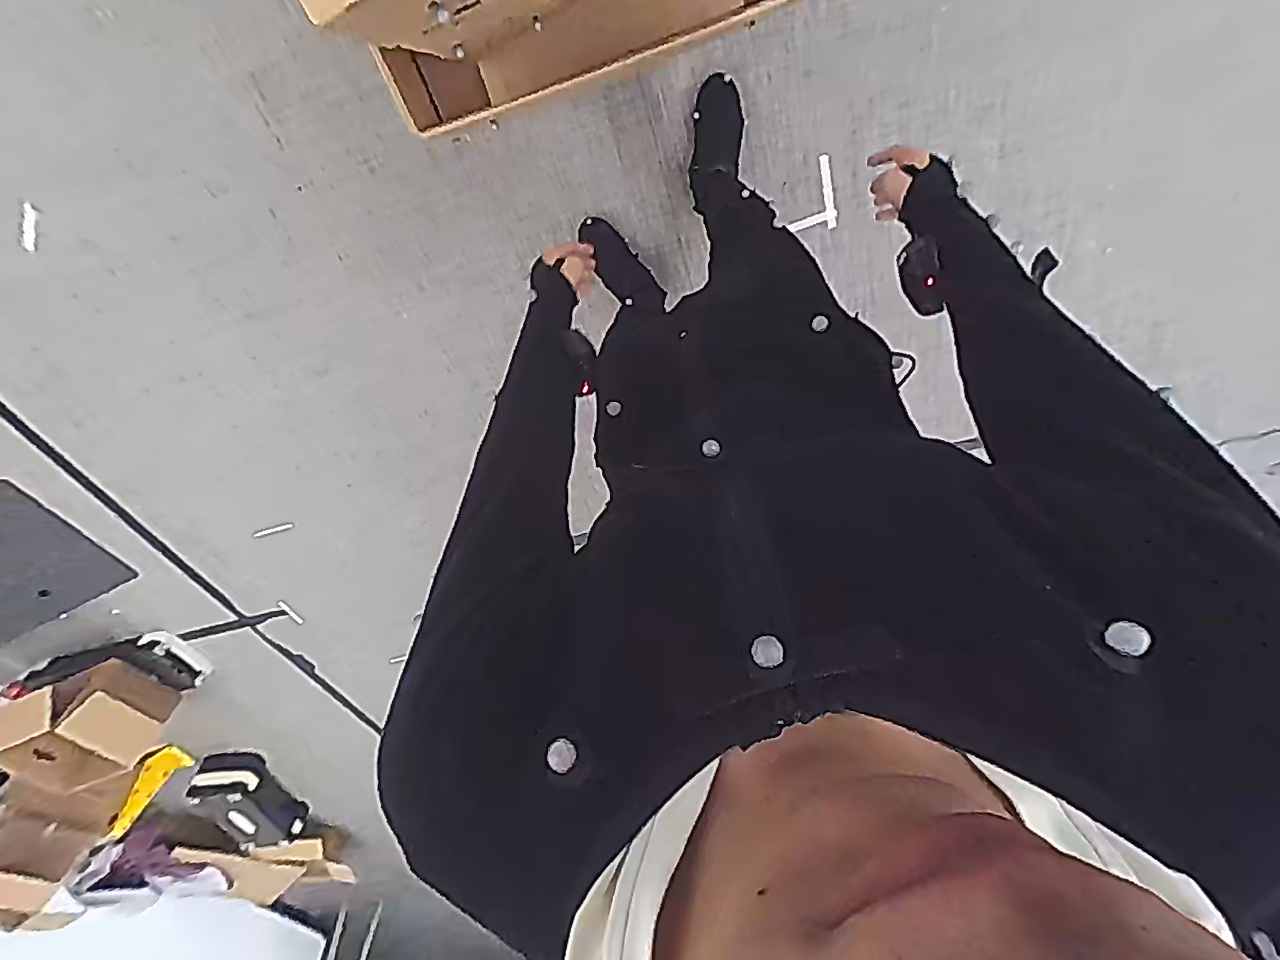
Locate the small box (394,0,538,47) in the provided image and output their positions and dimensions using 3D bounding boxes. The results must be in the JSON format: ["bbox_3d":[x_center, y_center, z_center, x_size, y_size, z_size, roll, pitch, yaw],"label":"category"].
[{"bbox_3d":[-0.220,-0.607,0.590,0.168,0.176,0.179,-18,123,11],"label":"small box"}]

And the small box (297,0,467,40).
[{"bbox_3d":[-0.231,-0.514,0.453,0.168,0.176,0.179,-19,123,12],"label":"small box"}]
